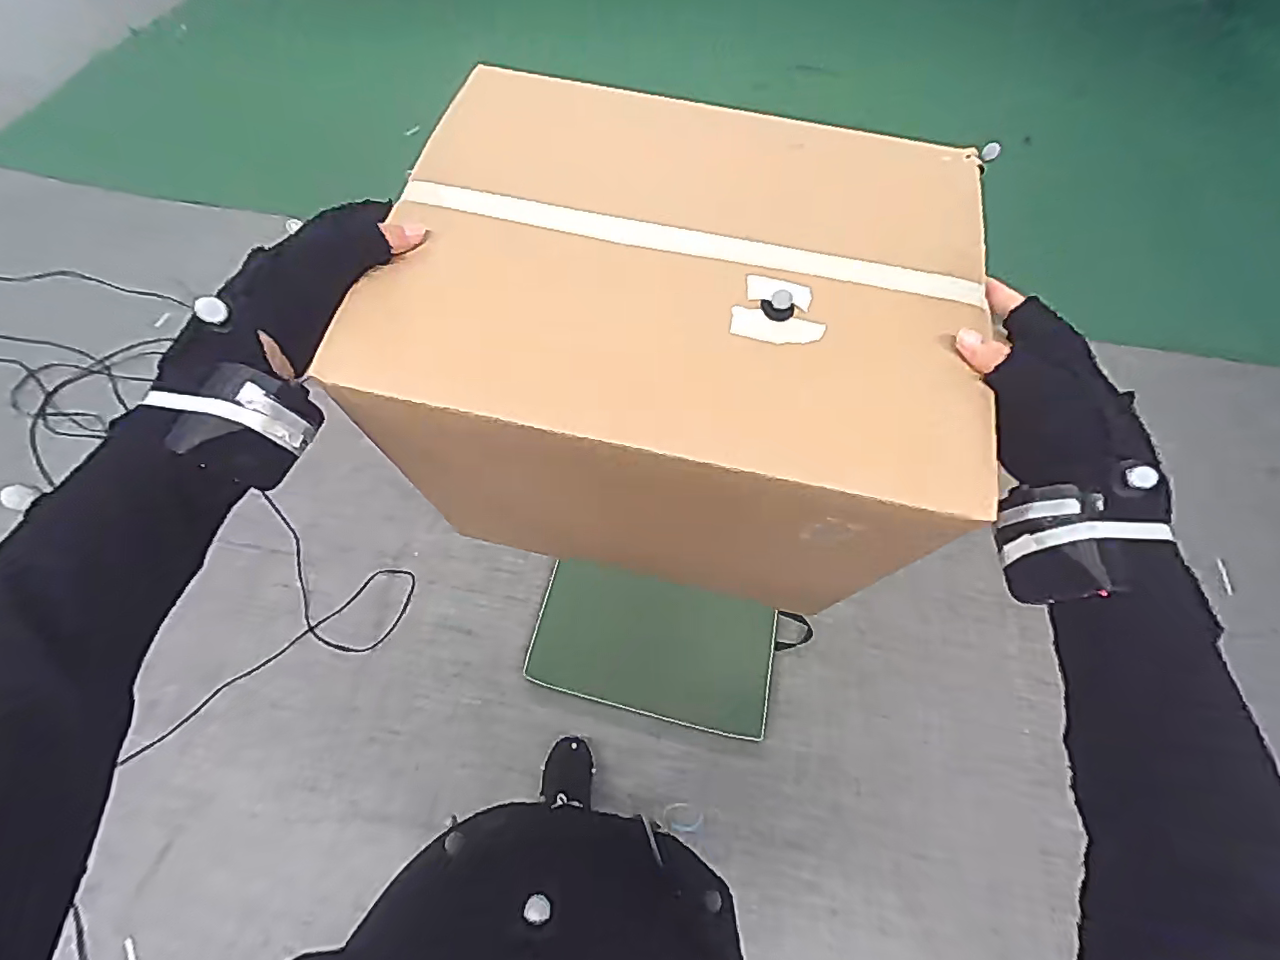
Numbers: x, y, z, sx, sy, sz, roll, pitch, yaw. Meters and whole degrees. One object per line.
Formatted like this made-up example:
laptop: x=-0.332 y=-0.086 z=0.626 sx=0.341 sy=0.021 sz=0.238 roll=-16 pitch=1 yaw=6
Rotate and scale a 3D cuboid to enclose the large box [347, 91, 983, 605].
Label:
large box: x=0.030 y=-0.095 z=0.523 sx=0.408 sy=0.320 sz=0.320 roll=12 pitch=67 yaw=2
